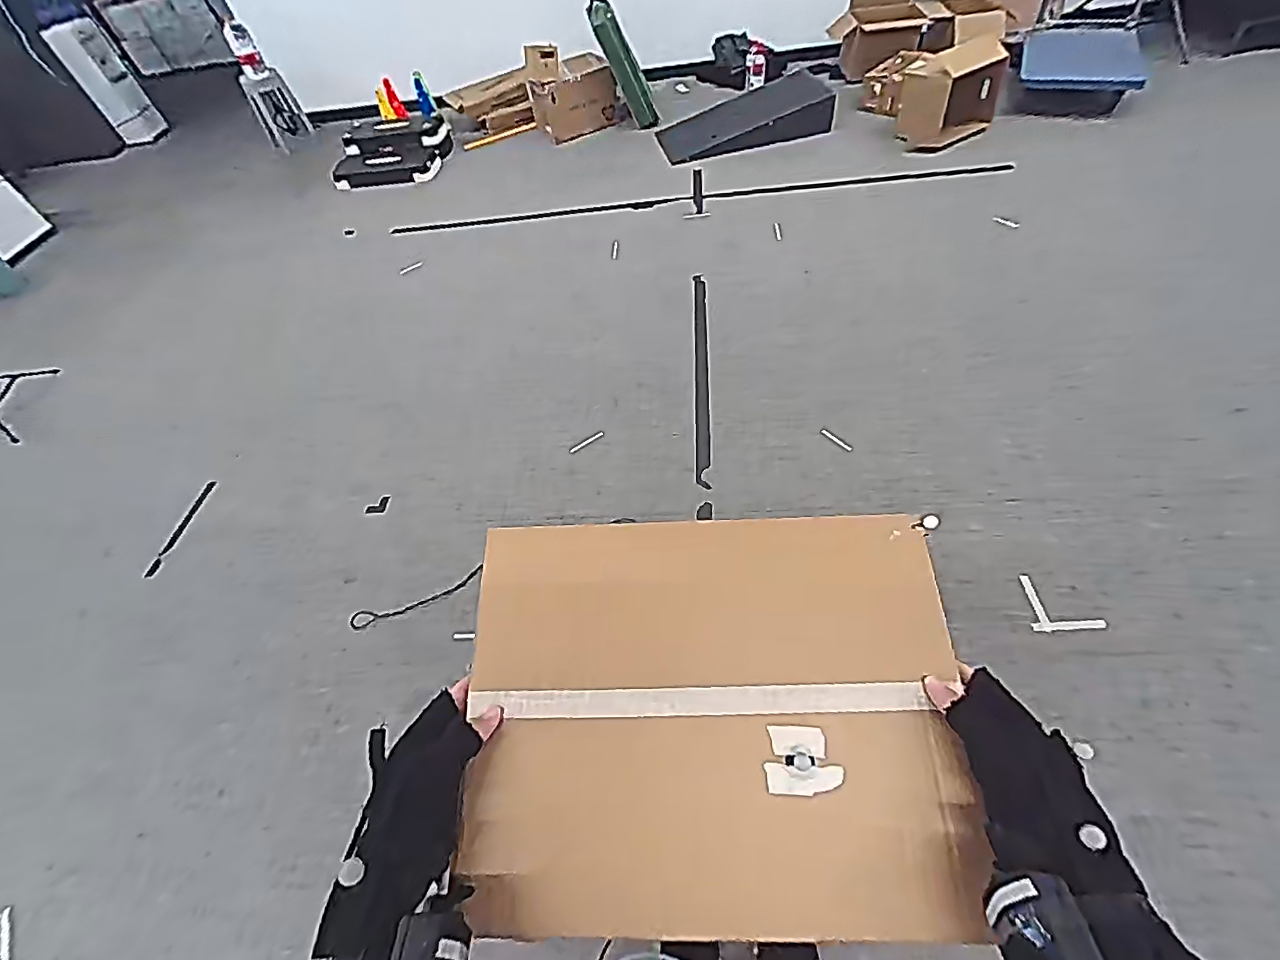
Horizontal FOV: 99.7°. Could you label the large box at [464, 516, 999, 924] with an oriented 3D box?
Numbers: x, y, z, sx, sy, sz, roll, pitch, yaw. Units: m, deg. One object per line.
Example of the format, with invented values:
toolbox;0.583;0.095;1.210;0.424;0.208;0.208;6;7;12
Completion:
large box;0.067;0.246;0.594;0.408;0.320;0.320;-2;65;3
